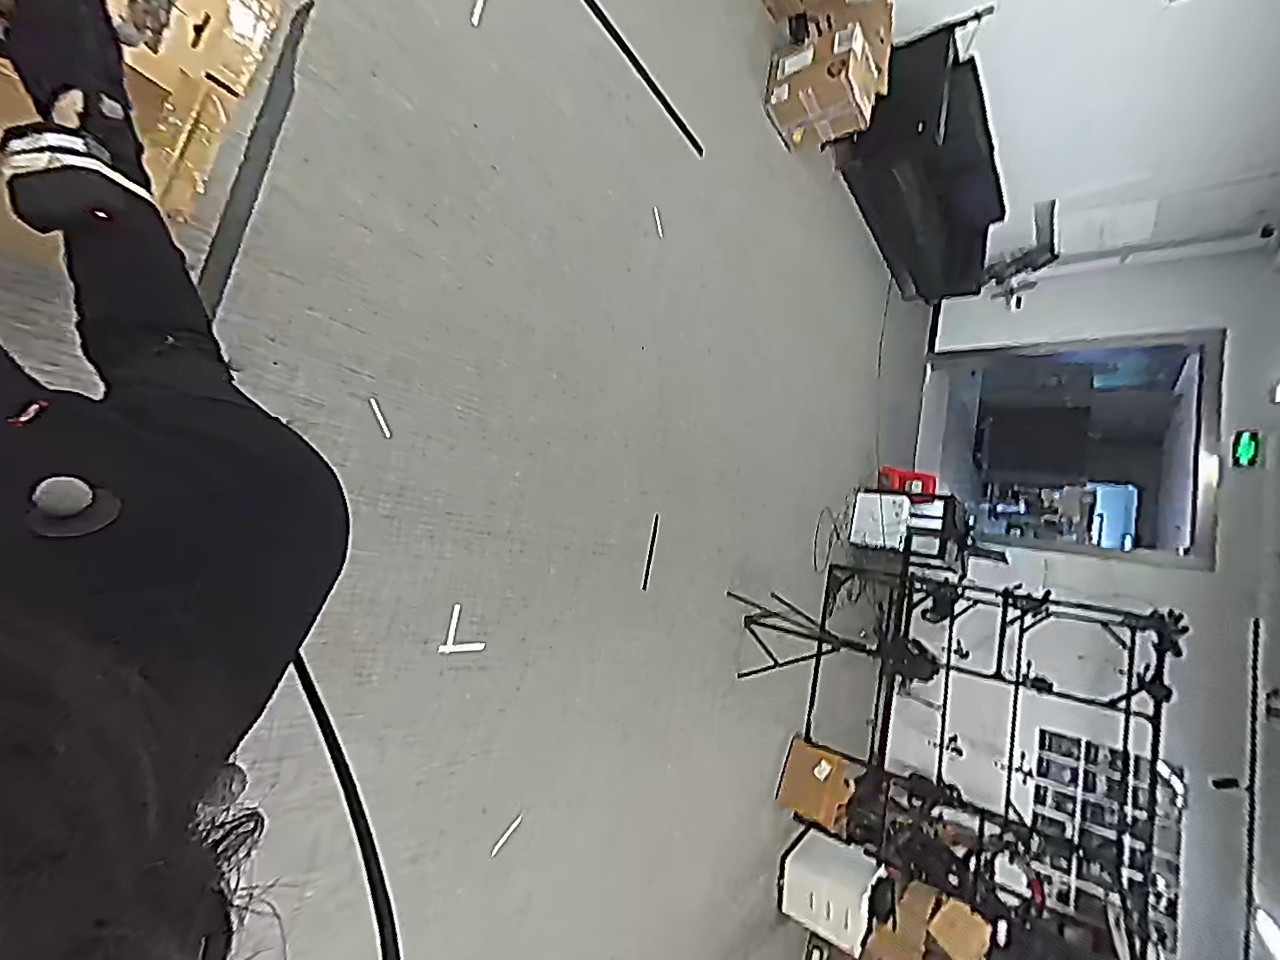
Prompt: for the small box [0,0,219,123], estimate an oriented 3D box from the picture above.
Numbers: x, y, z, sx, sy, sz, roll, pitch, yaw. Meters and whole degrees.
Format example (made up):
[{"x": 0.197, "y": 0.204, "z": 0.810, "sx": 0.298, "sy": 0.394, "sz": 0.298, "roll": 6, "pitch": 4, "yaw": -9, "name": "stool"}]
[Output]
[{"x": -0.592, "y": -0.523, "z": 0.575, "sx": 0.179, "sy": 0.176, "sz": 0.168, "roll": 28, "pitch": 73, "yaw": -47, "name": "small box"}]
